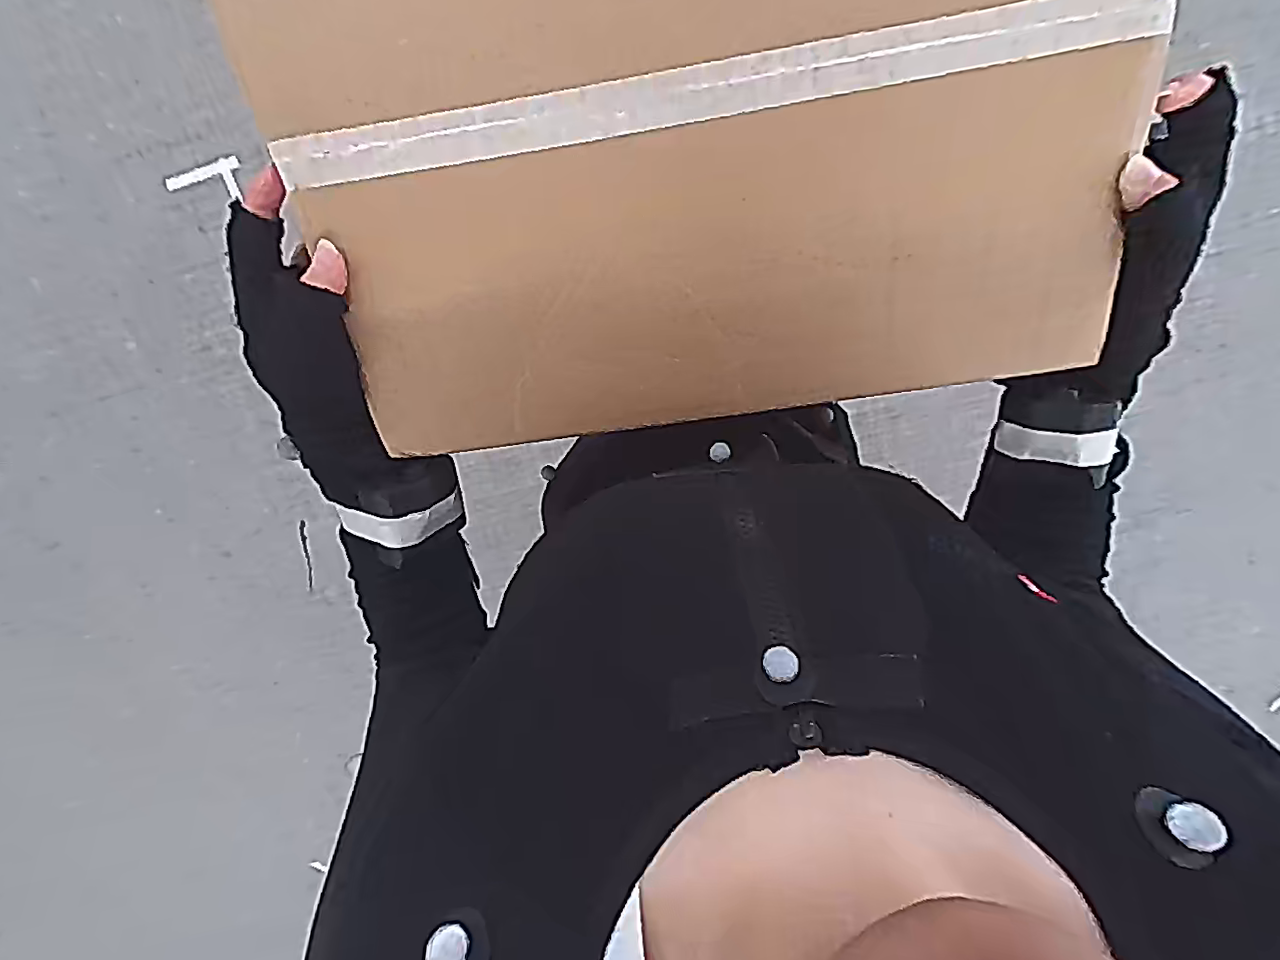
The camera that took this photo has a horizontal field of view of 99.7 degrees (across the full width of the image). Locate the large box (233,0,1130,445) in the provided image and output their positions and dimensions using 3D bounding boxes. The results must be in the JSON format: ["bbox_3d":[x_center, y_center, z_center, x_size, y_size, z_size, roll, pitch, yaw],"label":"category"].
[{"bbox_3d":[0.025,-0.249,0.389,0.408,0.320,0.320,-7,115,4],"label":"large box"}]
